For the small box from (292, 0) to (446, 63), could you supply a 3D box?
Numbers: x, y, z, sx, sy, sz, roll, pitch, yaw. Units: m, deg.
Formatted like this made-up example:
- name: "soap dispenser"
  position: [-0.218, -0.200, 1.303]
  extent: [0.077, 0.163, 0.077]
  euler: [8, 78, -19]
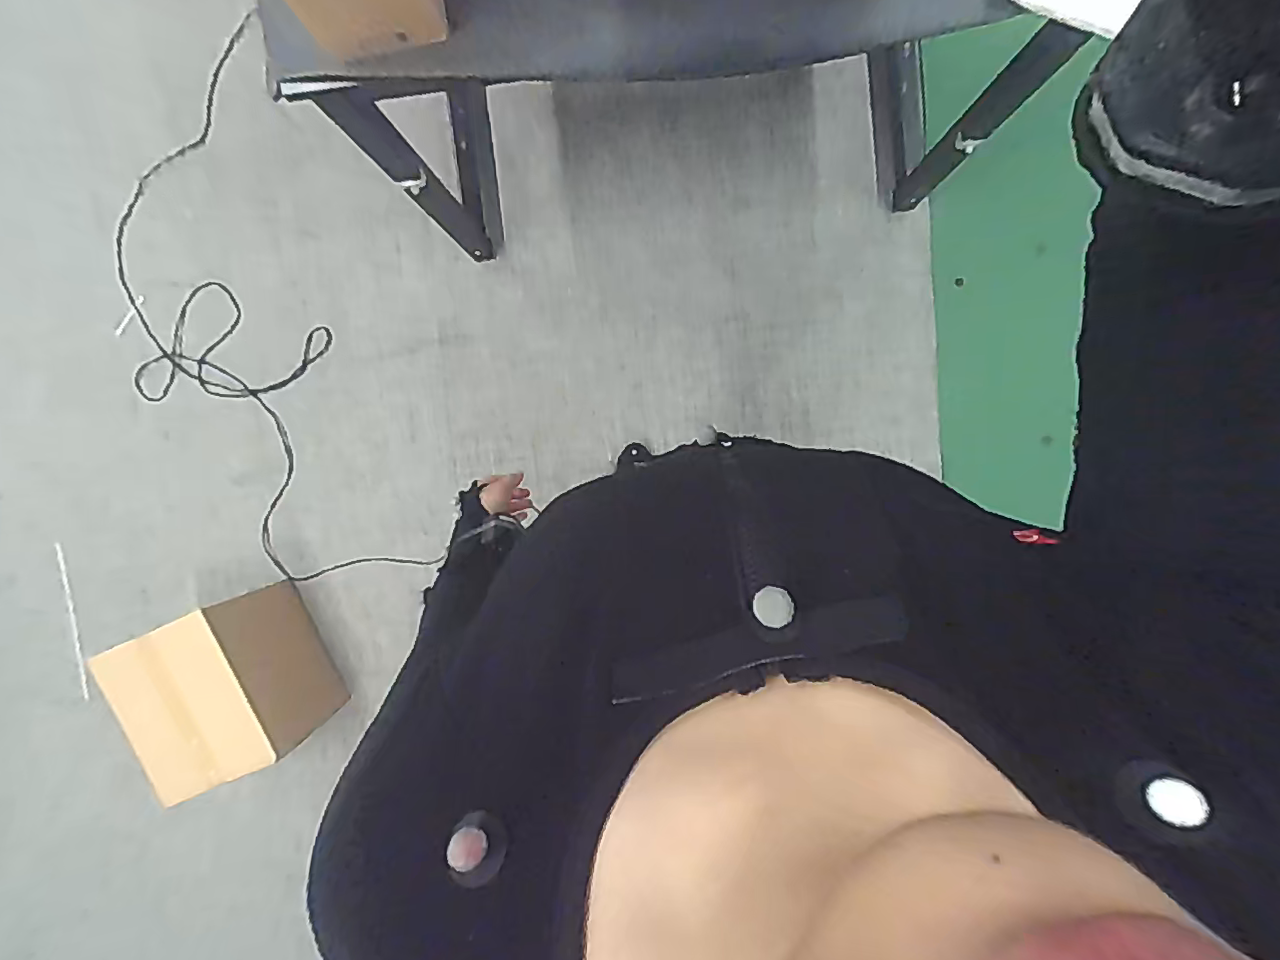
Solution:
- name: "small box"
  position: [-0.358, -0.666, 0.658]
  extent: [0.168, 0.176, 0.179]
  euler: [-11, 93, 3]
